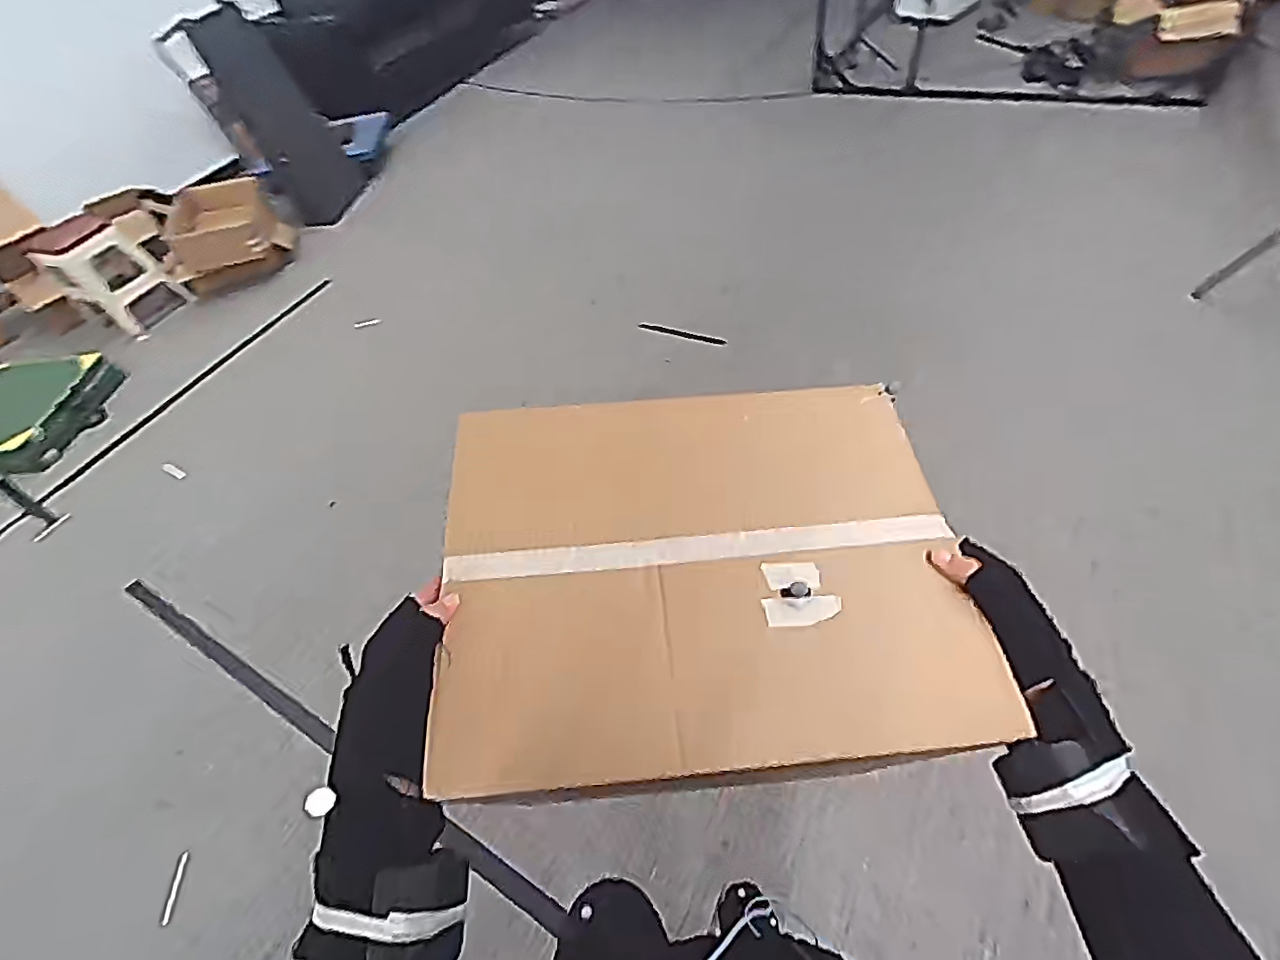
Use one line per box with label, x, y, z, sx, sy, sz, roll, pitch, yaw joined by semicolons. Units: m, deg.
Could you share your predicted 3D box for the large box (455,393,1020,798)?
large box;0.057;0.136;0.572;0.408;0.320;0.320;-4;59;-2
